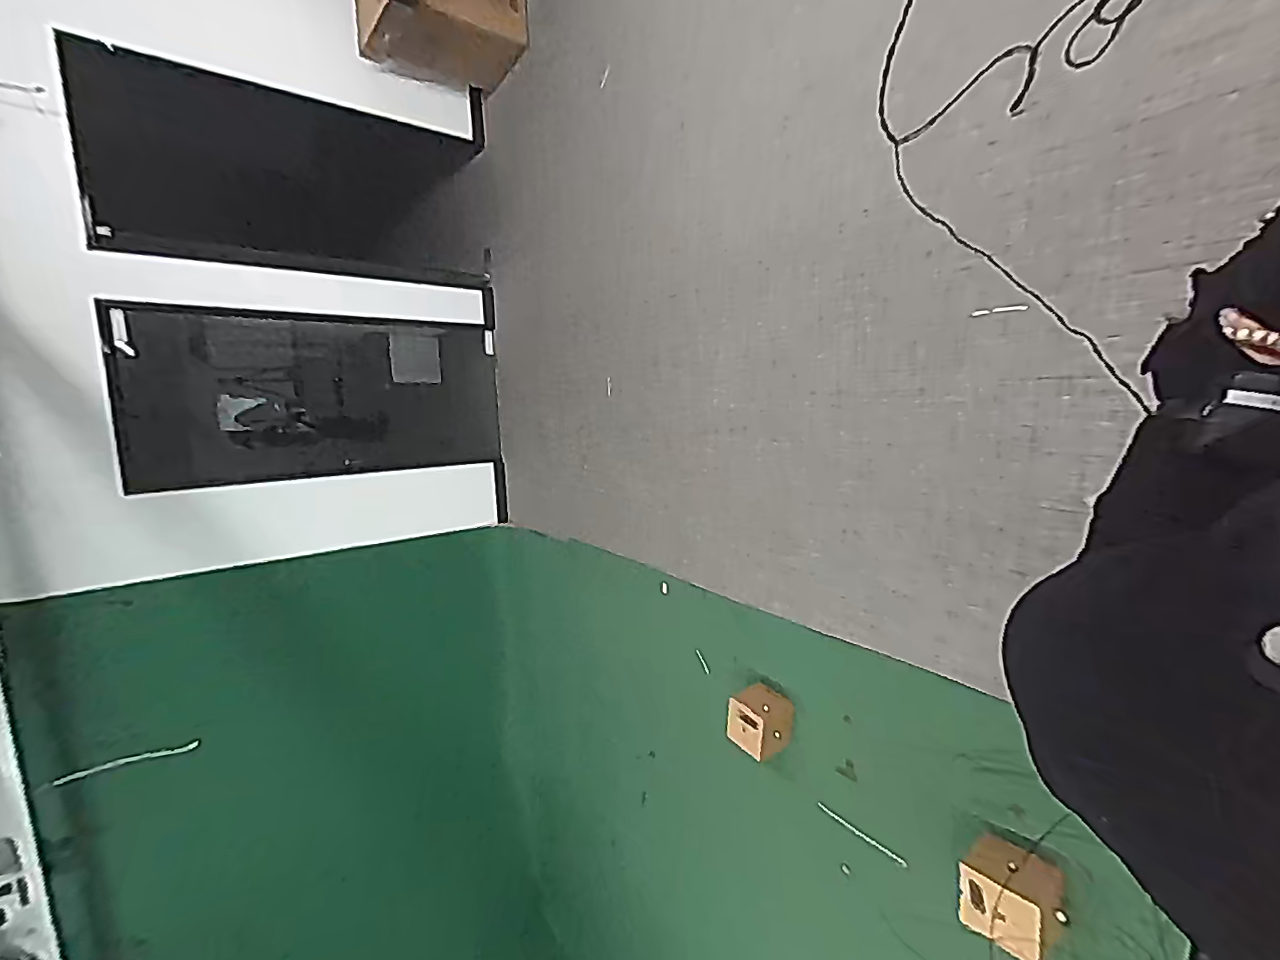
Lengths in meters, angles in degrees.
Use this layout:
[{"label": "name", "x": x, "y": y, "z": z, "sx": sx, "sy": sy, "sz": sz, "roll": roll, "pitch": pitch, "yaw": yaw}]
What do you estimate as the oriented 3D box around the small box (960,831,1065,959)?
[{"label": "small box", "x": 0.943, "y": 1.035, "z": 1.371, "sx": 0.179, "sy": 0.176, "sz": 0.168, "roll": 5, "pitch": 100, "yaw": 52}]
